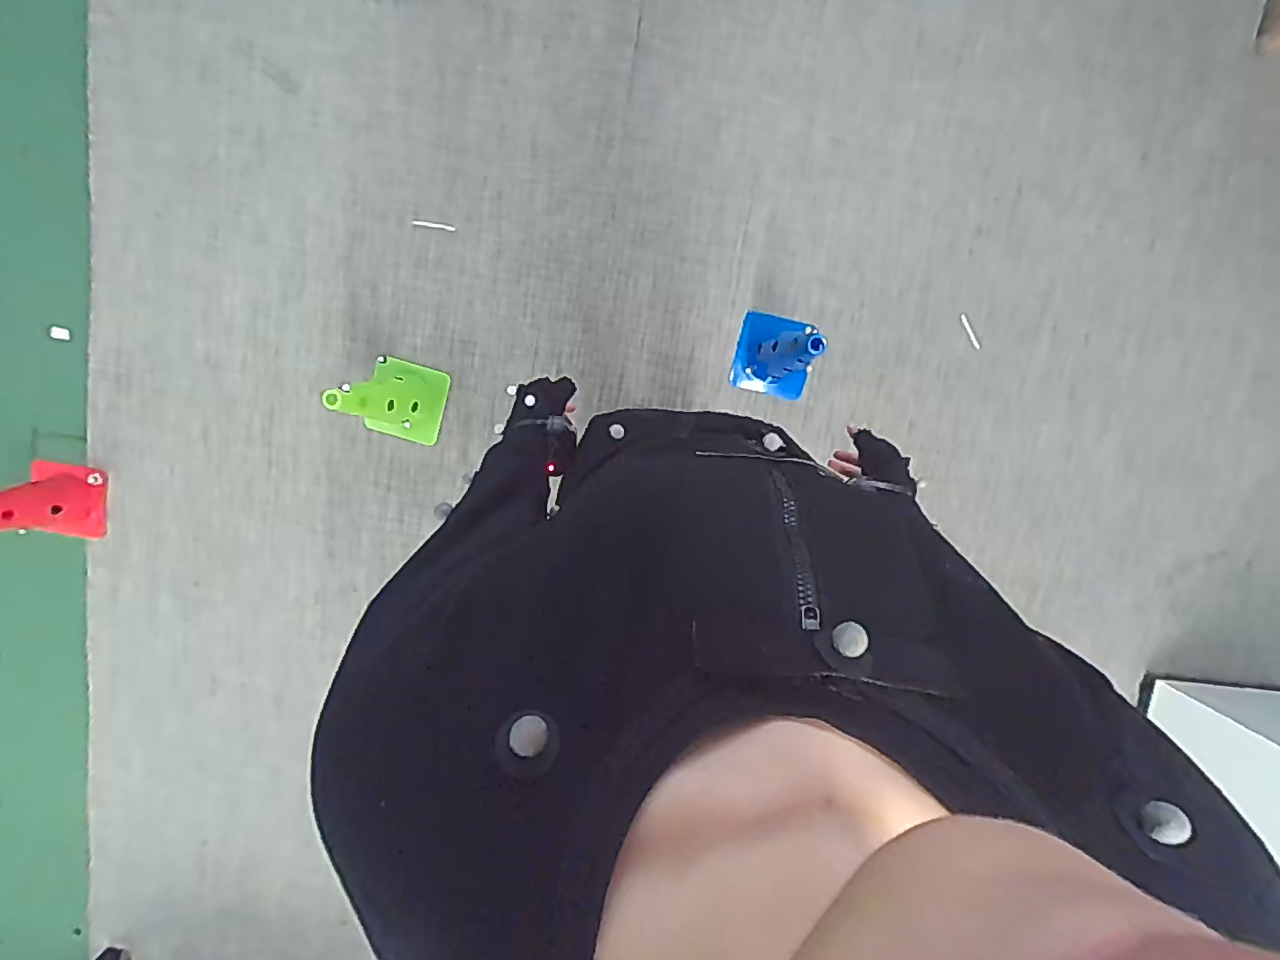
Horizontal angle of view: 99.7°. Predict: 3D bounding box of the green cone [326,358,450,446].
[{"bbox_3d":[-0.620,-0.185,1.268,0.202,0.368,0.200,15,97,-2],"label":"green cone"}]
